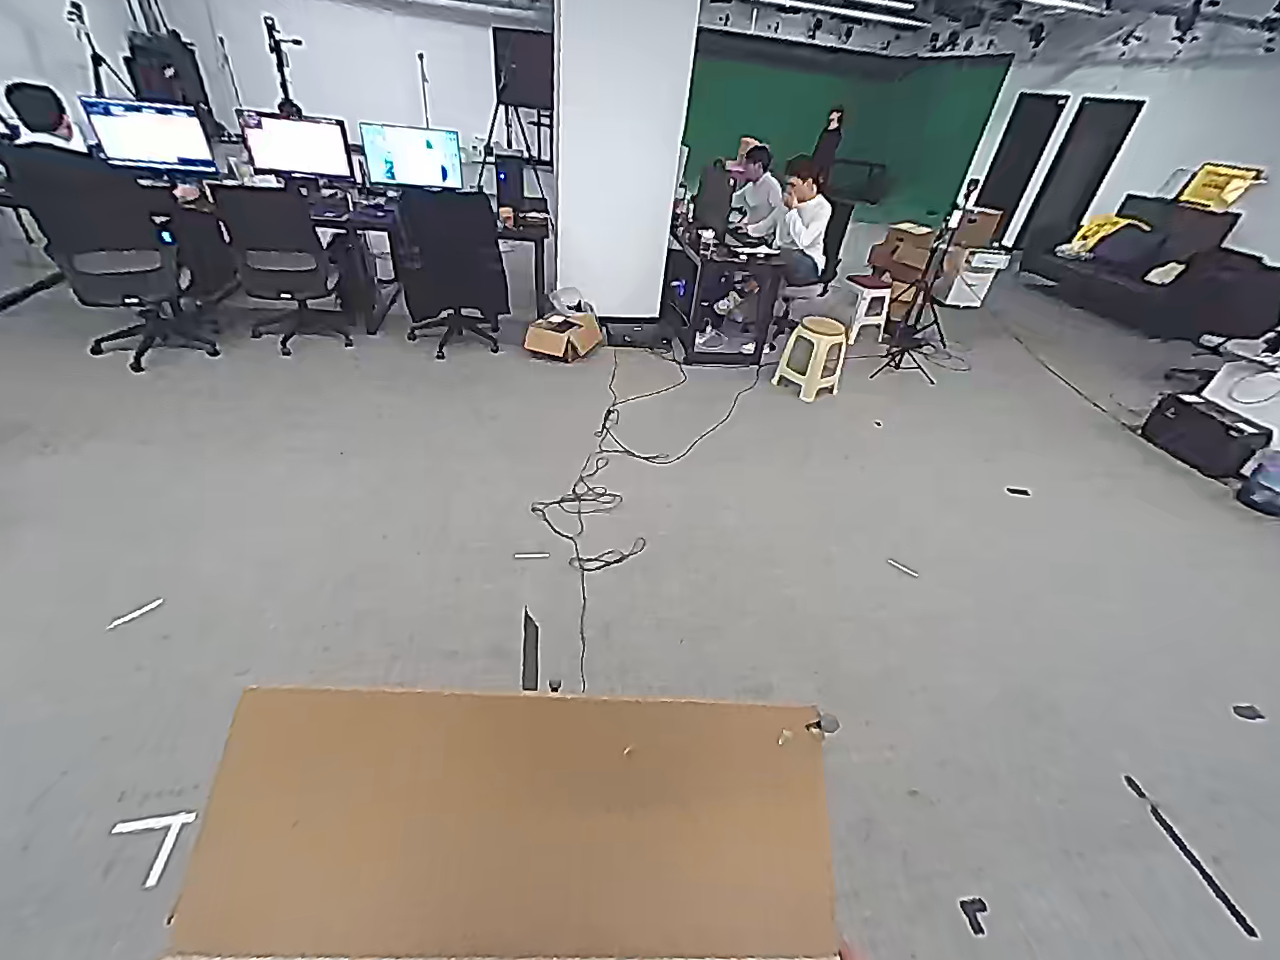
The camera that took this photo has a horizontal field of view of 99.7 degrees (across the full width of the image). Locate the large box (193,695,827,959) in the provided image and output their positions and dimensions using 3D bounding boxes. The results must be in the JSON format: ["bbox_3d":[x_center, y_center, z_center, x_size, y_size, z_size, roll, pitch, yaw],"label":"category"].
[{"bbox_3d":[-0.090,0.361,0.475,0.408,0.320,0.320,4,69,-5],"label":"large box"}]
